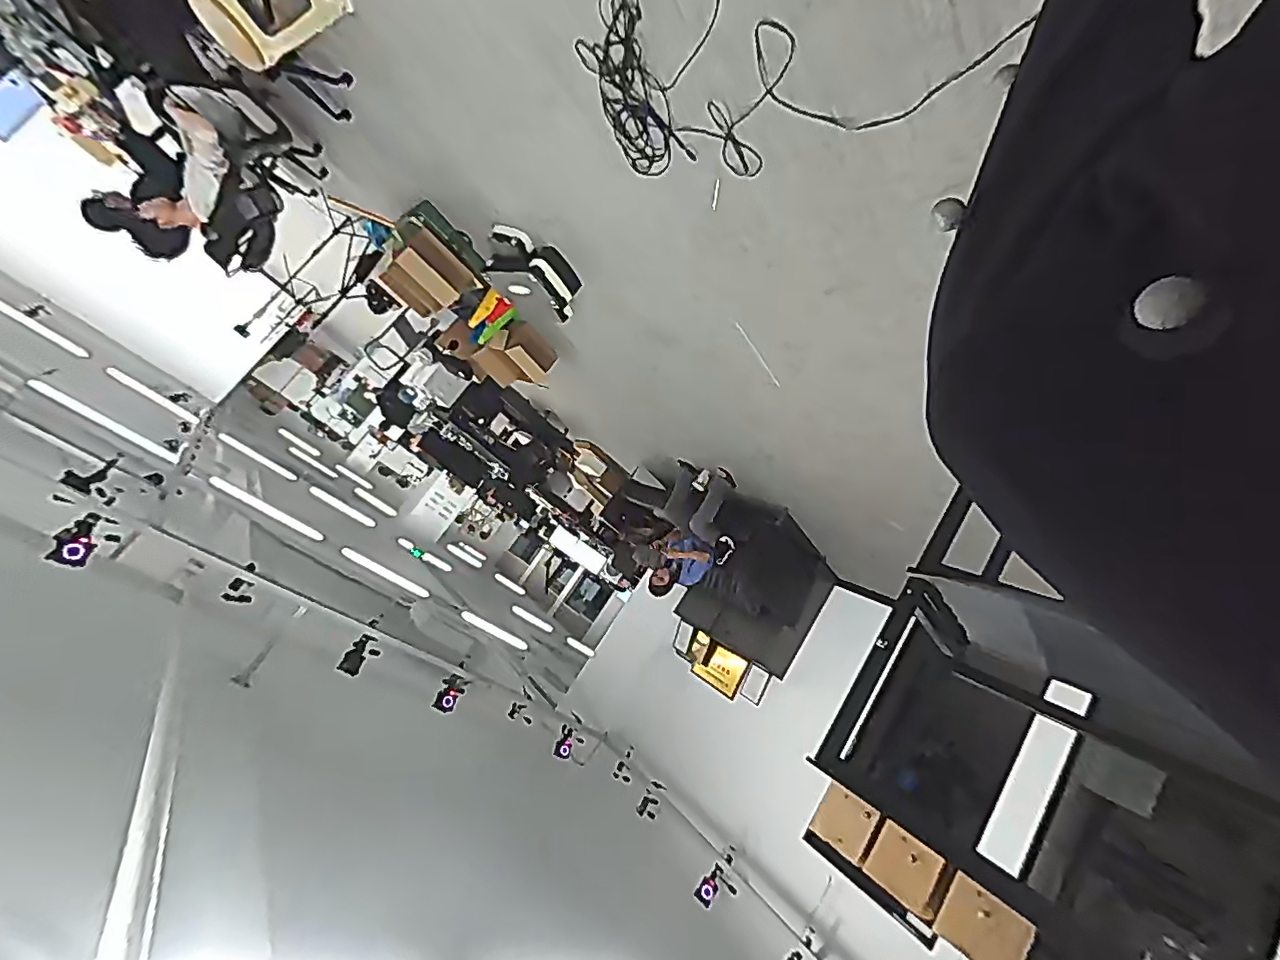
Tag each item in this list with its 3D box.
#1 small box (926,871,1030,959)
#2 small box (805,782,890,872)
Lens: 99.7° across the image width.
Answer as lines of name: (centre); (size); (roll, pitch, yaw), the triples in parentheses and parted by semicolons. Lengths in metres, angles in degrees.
small box: (0.884, 1.164, 1.407); (0.168, 0.176, 0.179); (20, 160, 50)
small box: (0.656, 1.087, 1.704); (0.168, 0.176, 0.179); (19, 161, 49)
